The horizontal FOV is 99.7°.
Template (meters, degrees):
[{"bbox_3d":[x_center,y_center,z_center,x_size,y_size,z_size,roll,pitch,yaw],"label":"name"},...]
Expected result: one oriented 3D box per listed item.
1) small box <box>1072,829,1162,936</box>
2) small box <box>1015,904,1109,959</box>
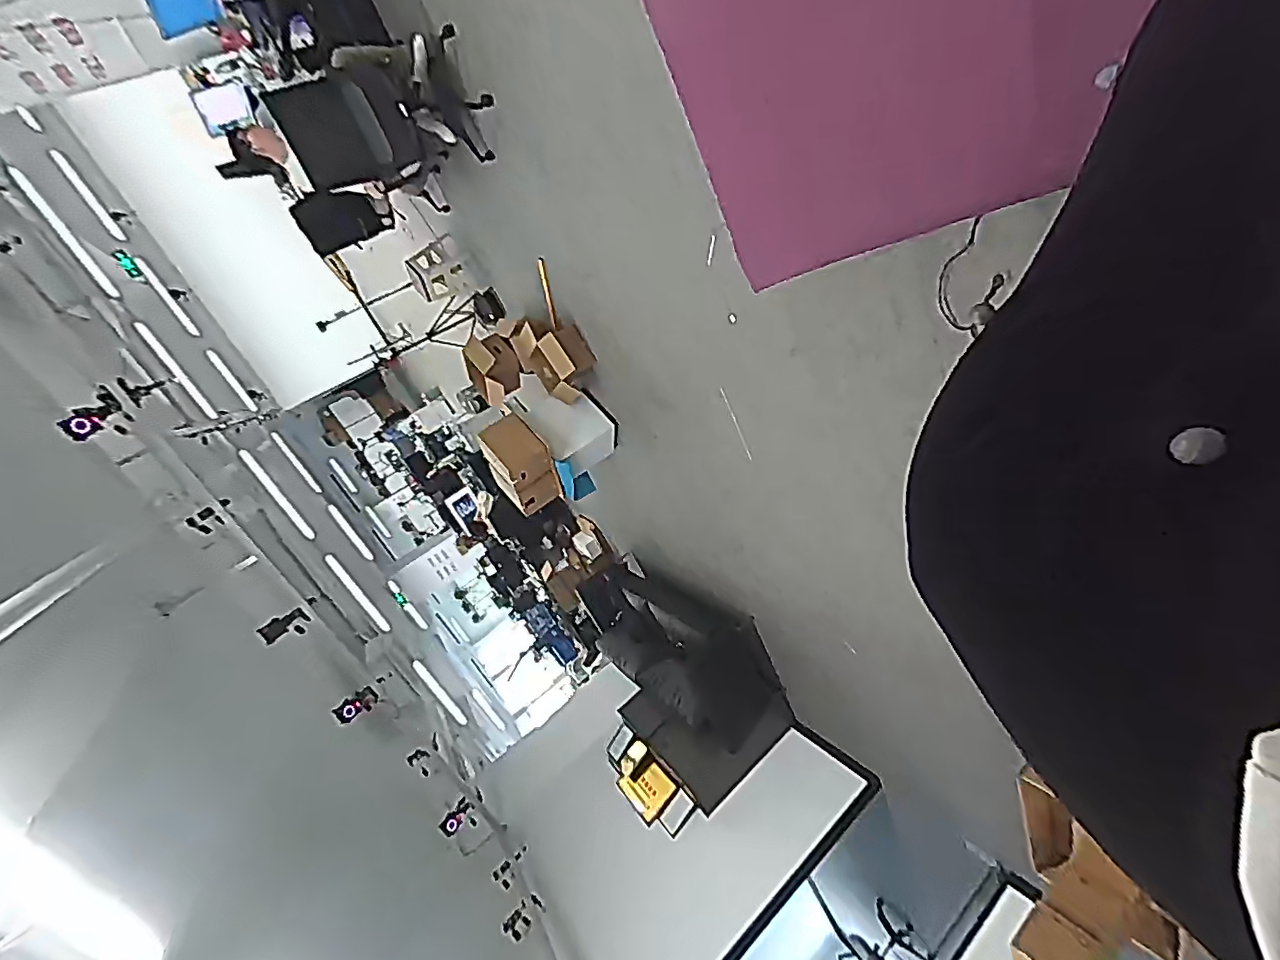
[{"bbox_3d":[1.511,1.266,1.710,0.168,0.176,0.179,19,137,59],"label":"small box"},{"bbox_3d":[1.242,1.411,1.586,0.168,0.176,0.179,17,135,60],"label":"small box"}]
